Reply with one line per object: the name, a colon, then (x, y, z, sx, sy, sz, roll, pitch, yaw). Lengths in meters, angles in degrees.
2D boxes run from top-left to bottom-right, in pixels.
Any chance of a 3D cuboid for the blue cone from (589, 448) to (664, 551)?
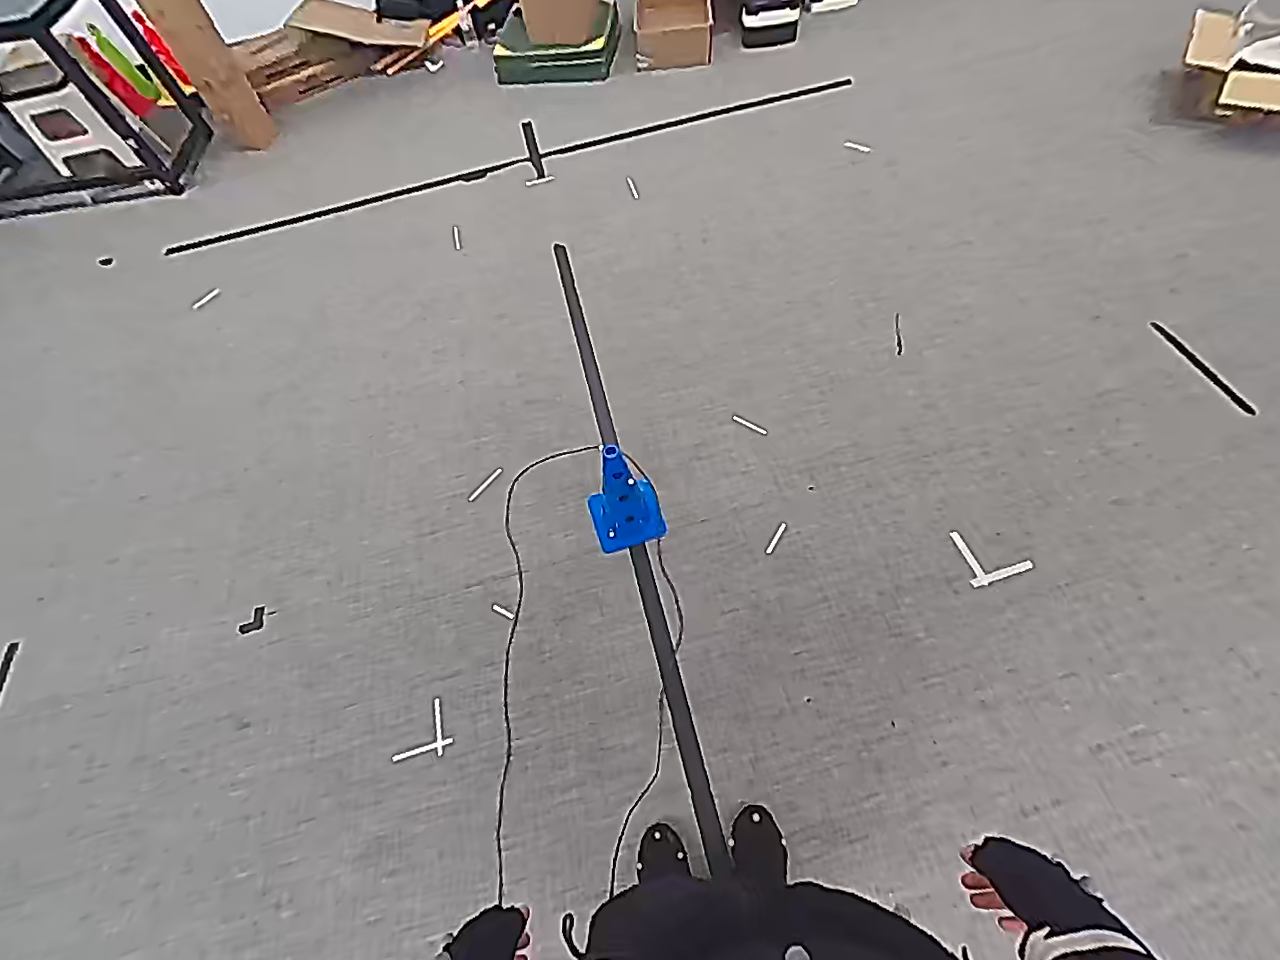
blue cone: (-0.050, 0.023, 1.442, 0.192, 0.380, 0.193, -20, 61, -6)
